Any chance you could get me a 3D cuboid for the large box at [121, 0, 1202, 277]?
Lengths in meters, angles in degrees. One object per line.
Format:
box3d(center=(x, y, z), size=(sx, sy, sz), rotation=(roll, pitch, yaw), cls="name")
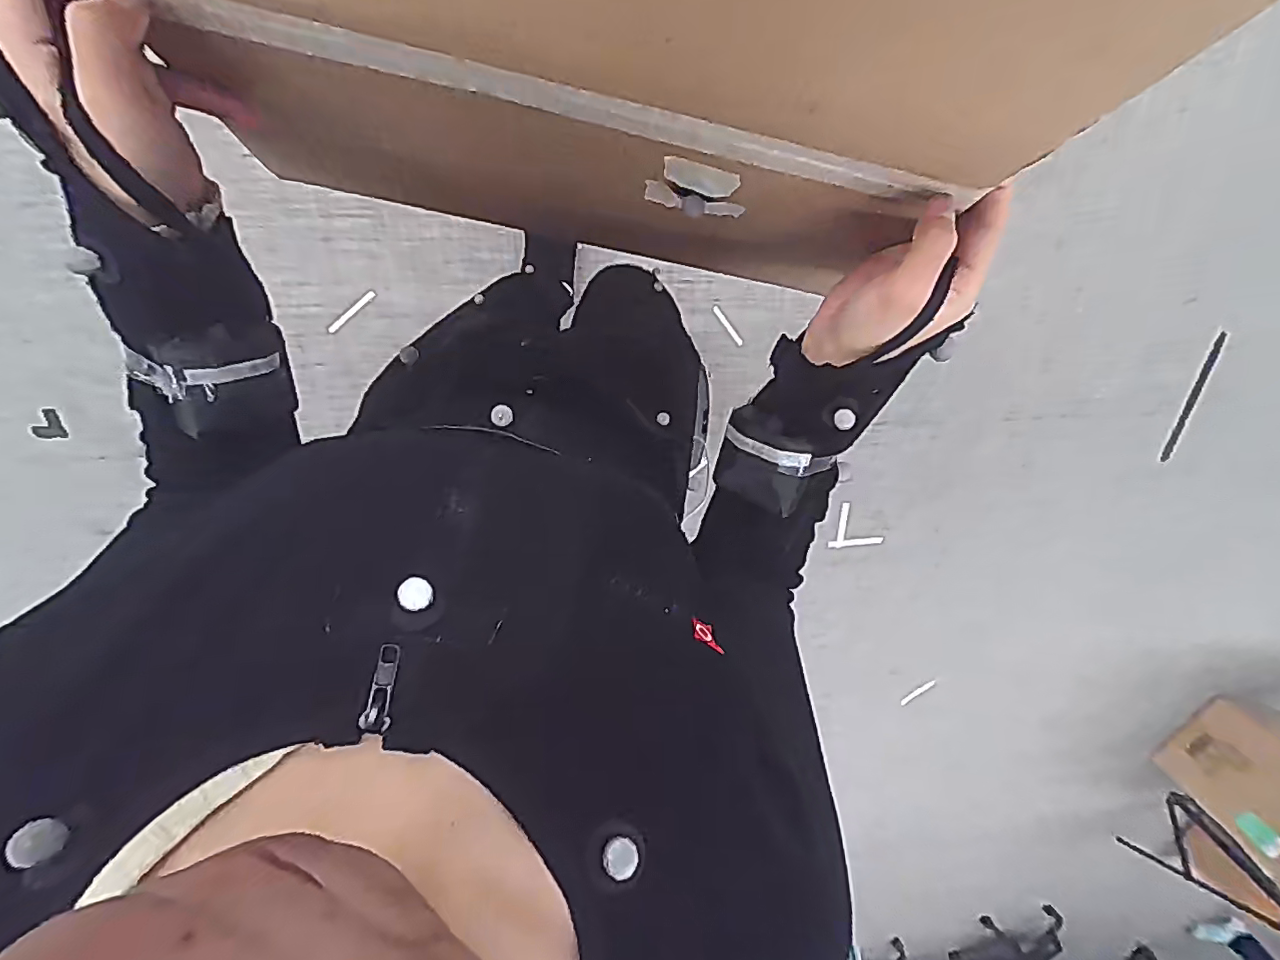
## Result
box3d(center=(-0.009, -0.331, 0.247), size=(0.408, 0.320, 0.320), rotation=(8, 91, -8), cls="large box")
